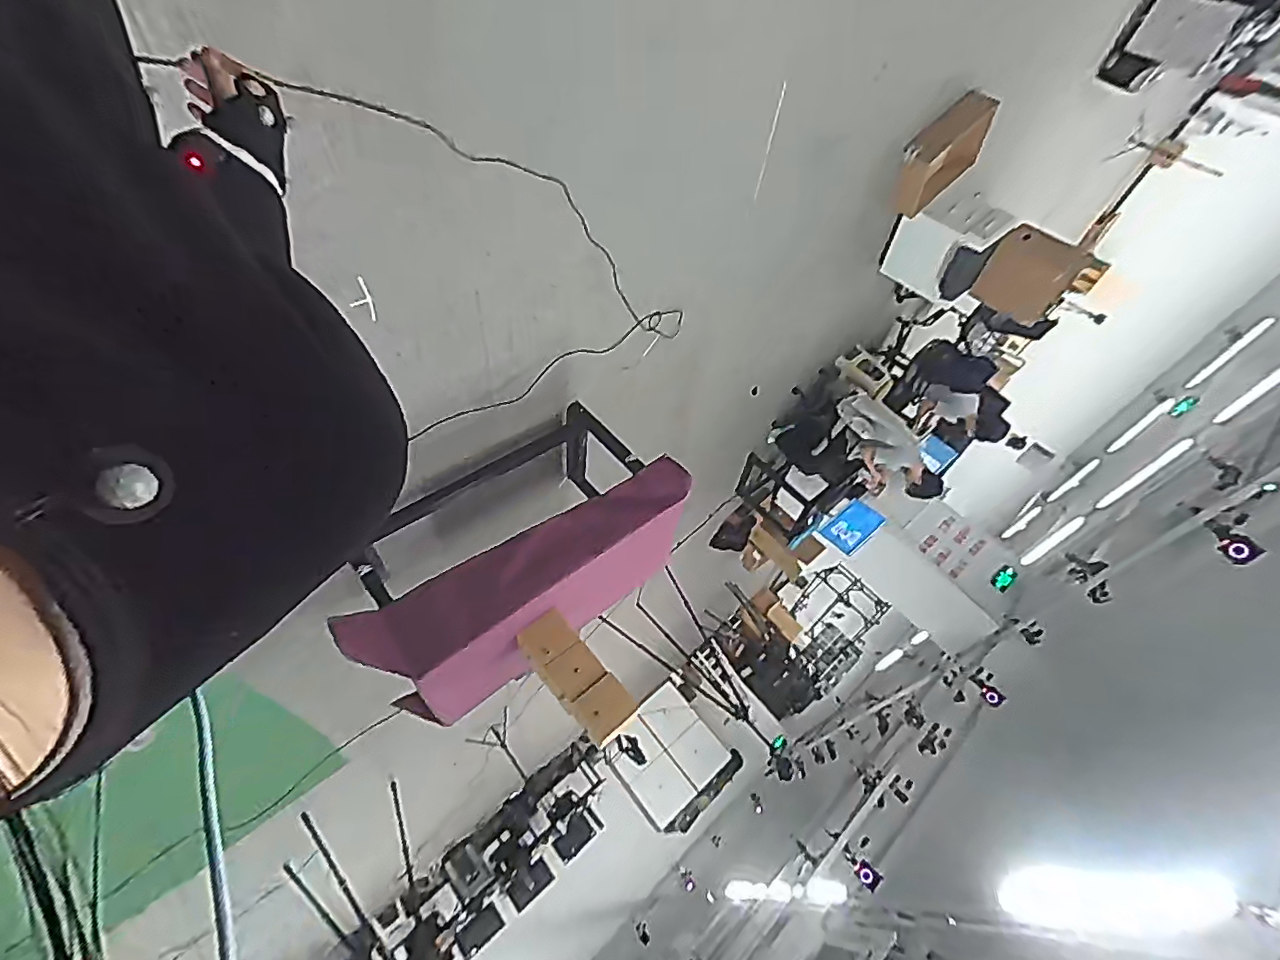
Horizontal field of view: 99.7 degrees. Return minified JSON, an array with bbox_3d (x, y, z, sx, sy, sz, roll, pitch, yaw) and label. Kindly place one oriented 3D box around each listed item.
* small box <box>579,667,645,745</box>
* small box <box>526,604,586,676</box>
[{"bbox_3d":[-0.107,0.817,1.963,0.179,0.176,0.168,-32,154,-28],"label":"small box"},{"bbox_3d":[-0.331,0.619,2.099,0.179,0.176,0.168,-31,153,-28],"label":"small box"}]
